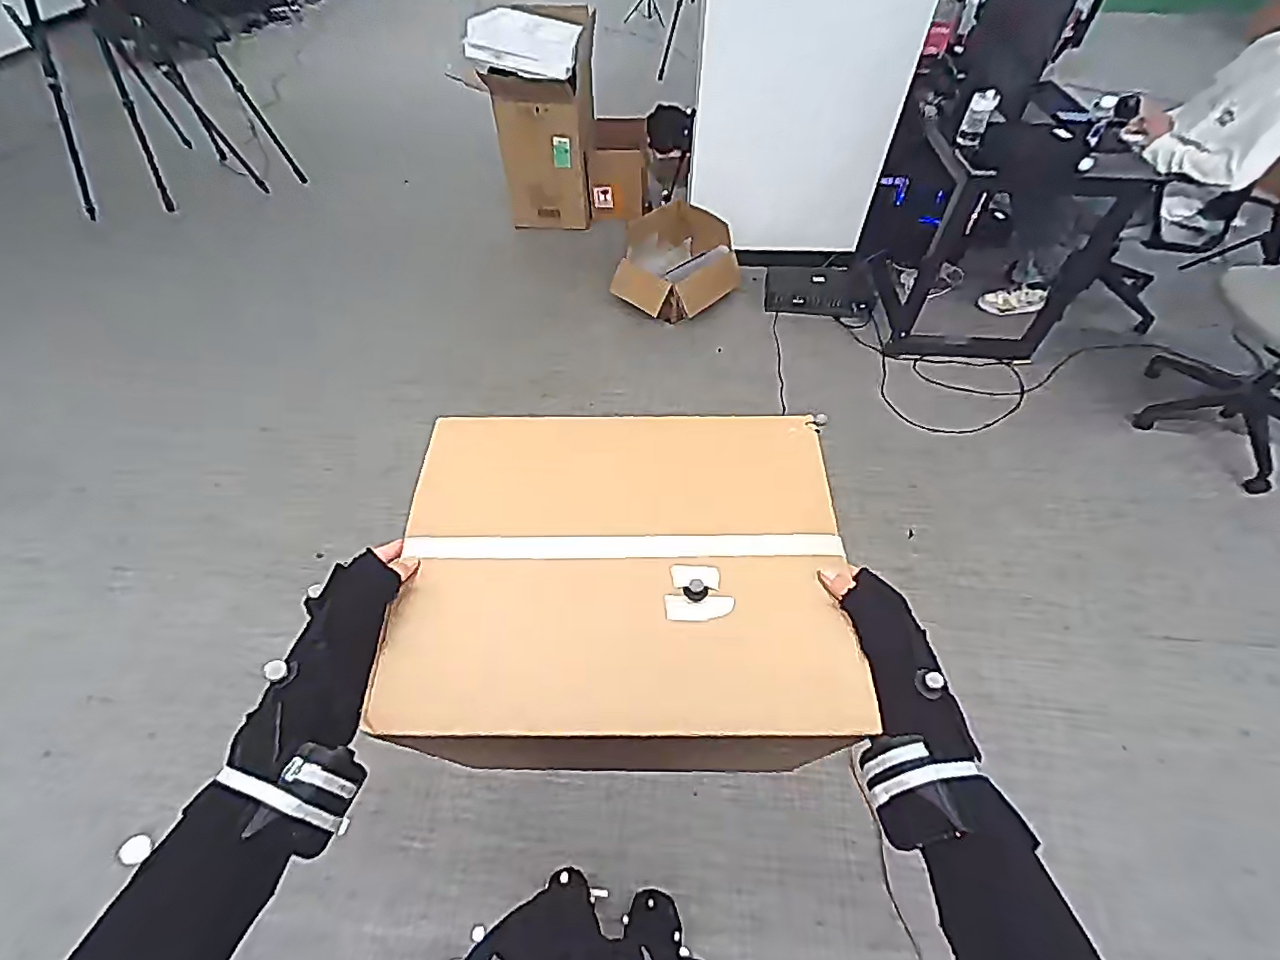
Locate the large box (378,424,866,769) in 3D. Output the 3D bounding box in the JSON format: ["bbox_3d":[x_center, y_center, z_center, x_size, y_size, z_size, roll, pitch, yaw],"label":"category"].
[{"bbox_3d":[-0.016,0.149,0.637,0.408,0.320,0.320,0,57,1],"label":"large box"}]
